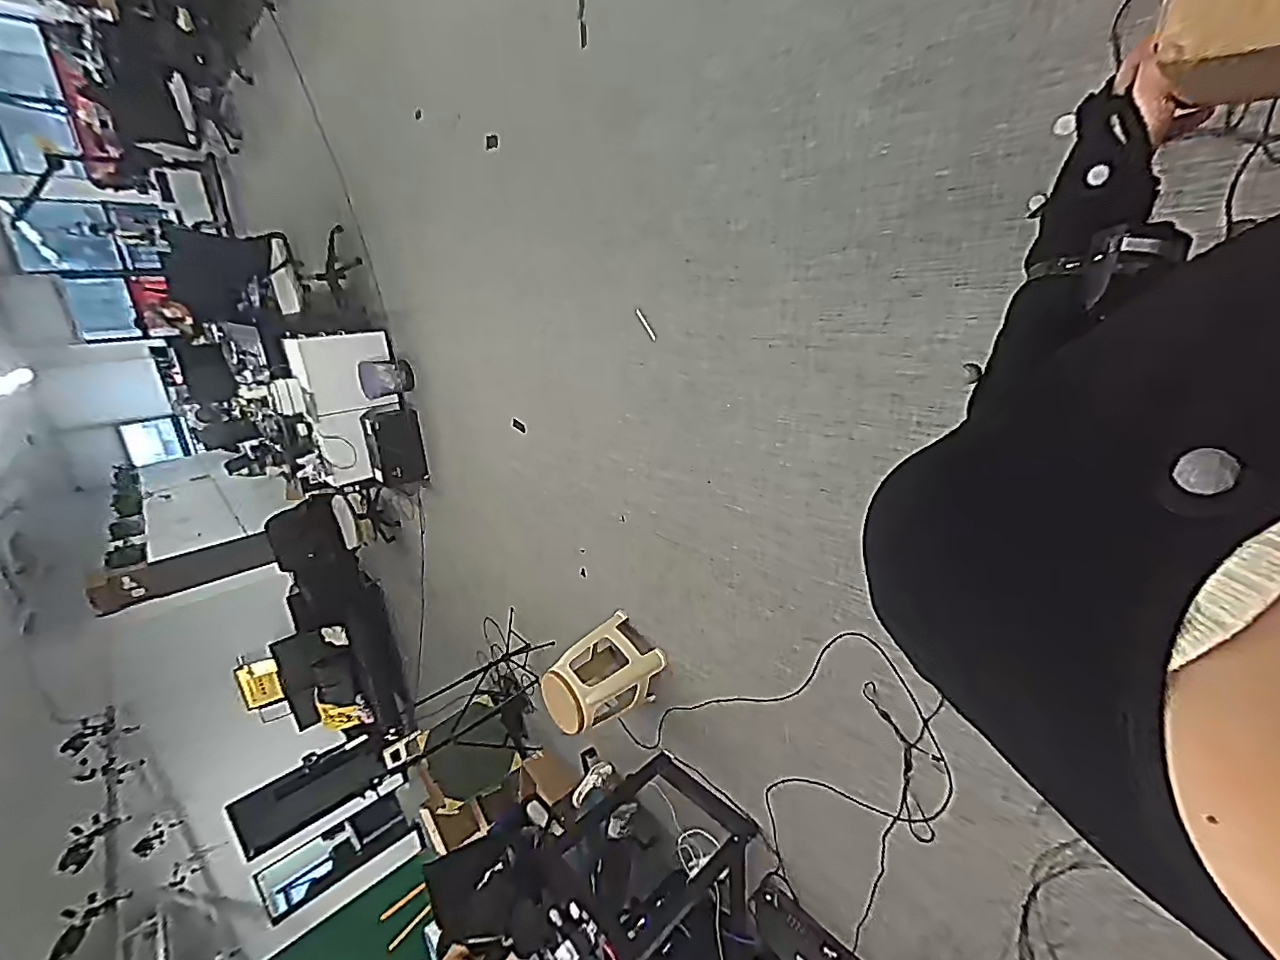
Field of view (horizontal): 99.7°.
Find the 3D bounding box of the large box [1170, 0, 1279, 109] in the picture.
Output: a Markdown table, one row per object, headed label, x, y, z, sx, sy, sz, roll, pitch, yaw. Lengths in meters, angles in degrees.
| label | x | y | z | sx | sy | sz | roll | pitch | yaw |
| --- | --- | --- | --- | --- | --- | --- | --- | --- | --- |
| large box | 0.442 | -0.316 | 0.128 | 0.408 | 0.320 | 0.320 | 18 | 125 | 38 |
